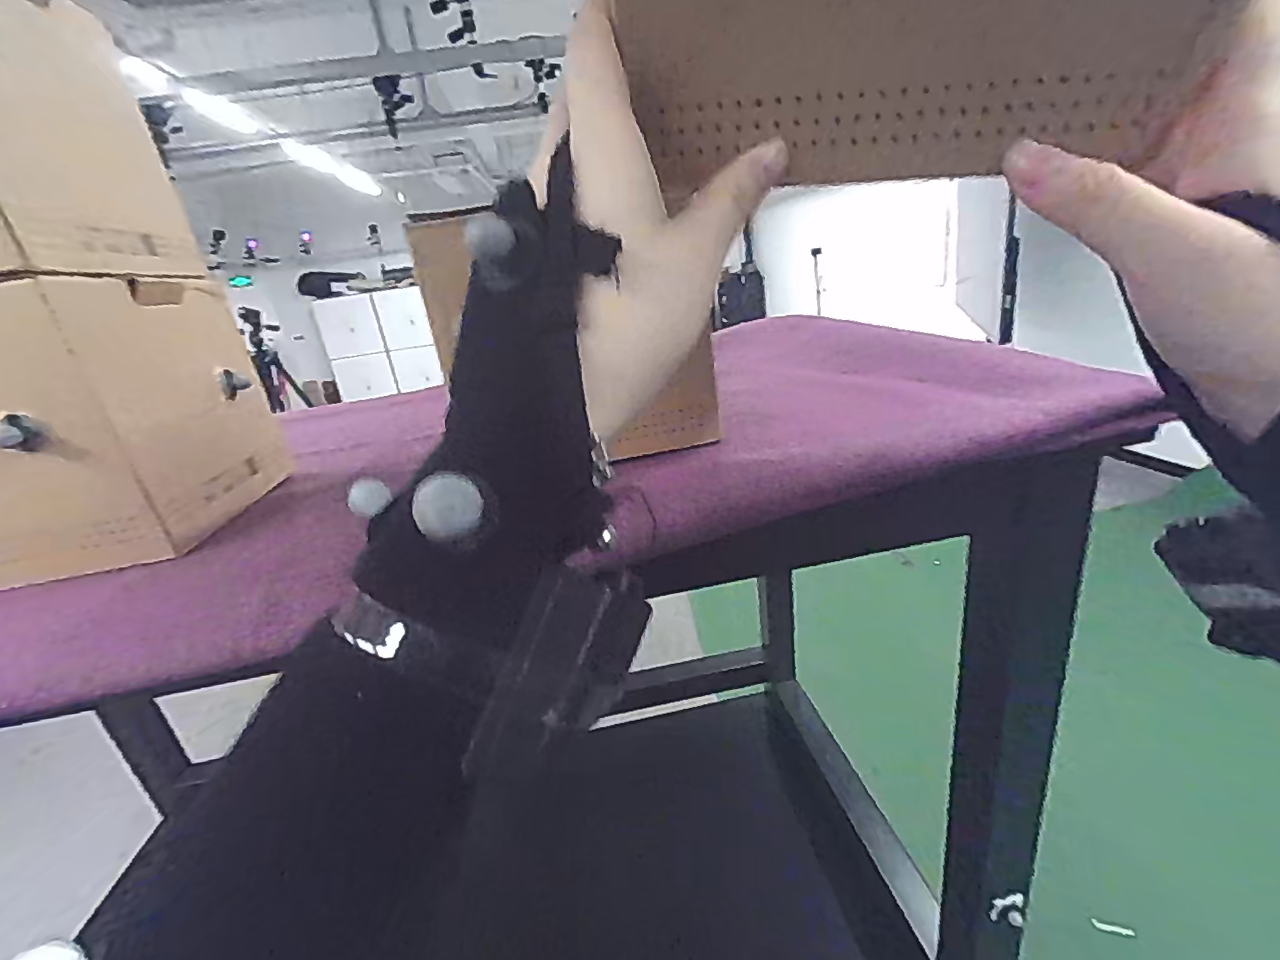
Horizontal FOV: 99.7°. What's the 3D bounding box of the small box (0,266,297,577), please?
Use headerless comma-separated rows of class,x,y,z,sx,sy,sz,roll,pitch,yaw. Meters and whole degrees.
small box,-0.383,-0.046,0.378,0.179,0.176,0.168,-11,20,-6

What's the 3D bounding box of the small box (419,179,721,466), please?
small box,-0.044,-0.116,0.428,0.179,0.176,0.168,-9,18,-3
